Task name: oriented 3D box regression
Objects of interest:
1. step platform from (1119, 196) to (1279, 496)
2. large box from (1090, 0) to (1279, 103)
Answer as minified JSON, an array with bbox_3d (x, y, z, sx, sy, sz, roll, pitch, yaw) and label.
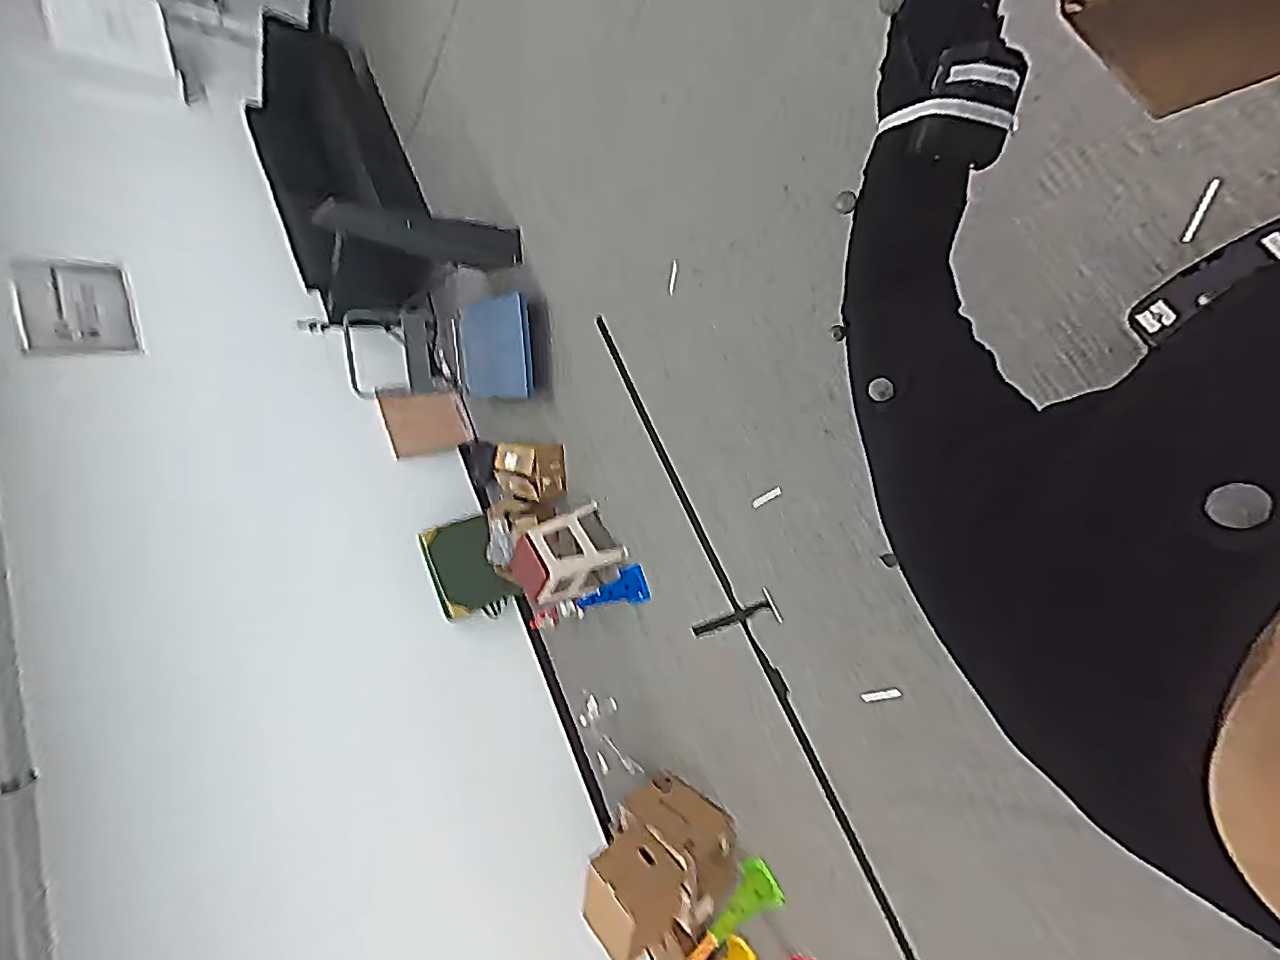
[{"bbox_3d":[1.256,-0.184,1.003,0.286,0.204,0.684,-44,65,46],"label":"step platform"},{"bbox_3d":[0.499,-0.486,0.271,0.408,0.320,0.320,2,103,51],"label":"large box"}]
